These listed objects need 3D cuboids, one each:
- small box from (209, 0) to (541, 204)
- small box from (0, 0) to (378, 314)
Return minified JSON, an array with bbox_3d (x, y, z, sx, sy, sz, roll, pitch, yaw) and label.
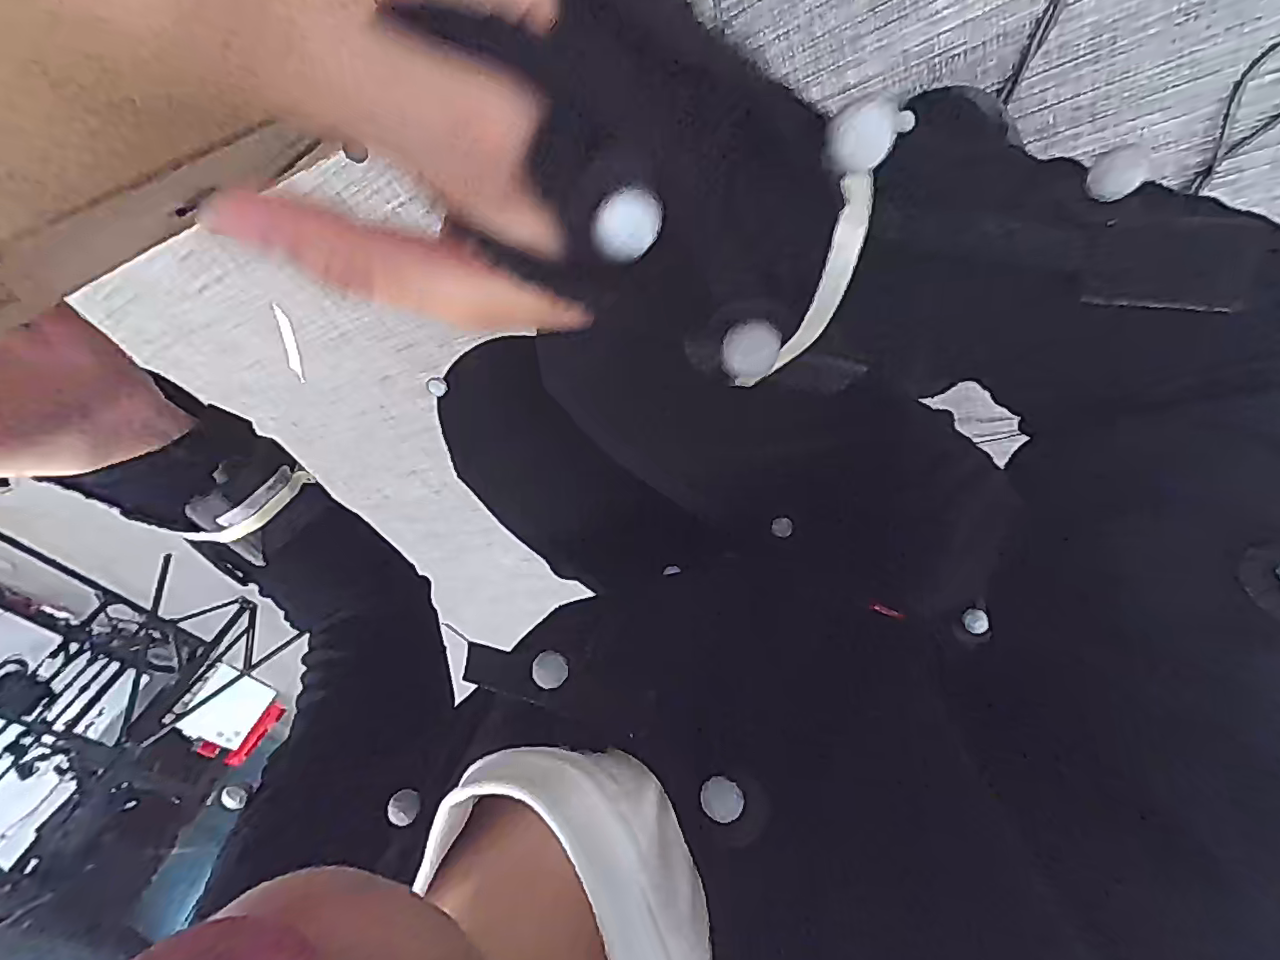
[{"bbox_3d":[-0.170,-0.269,0.251,0.179,0.176,0.168,-7,134,31],"label":"small box"},{"bbox_3d":[-0.221,-0.155,0.147,0.168,0.176,0.179,-8,135,31],"label":"small box"}]
